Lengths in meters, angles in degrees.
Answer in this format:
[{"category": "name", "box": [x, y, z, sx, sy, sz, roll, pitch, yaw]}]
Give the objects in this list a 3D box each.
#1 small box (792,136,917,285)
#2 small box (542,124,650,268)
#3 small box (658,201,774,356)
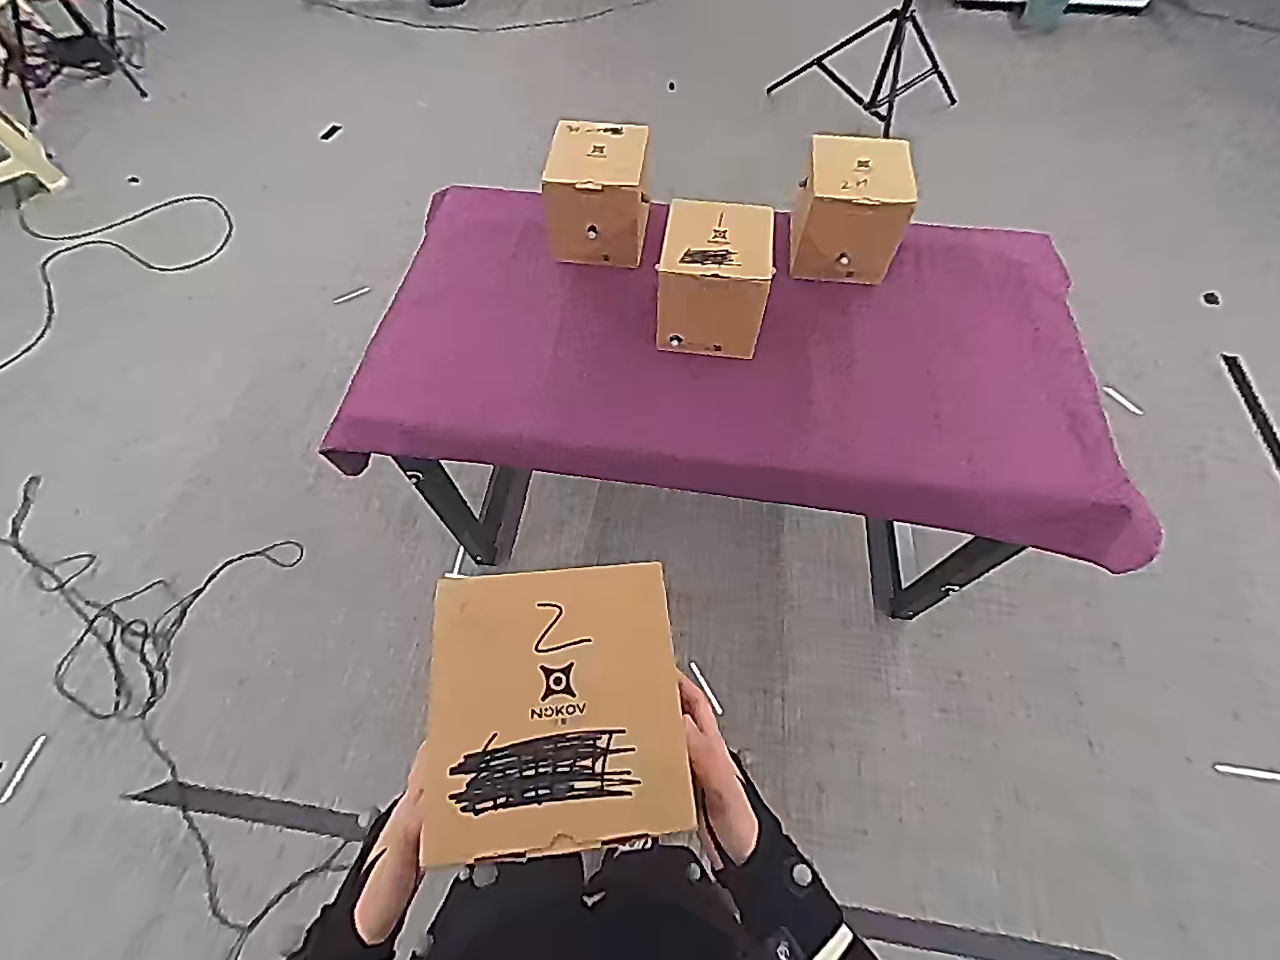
[{"category": "small box", "box": [0.375, -0.483, 0.976, 0.168, 0.176, 0.179, 6, 63, 5]}, {"category": "small box", "box": [-0.071, -0.521, 1.003, 0.168, 0.176, 0.179, 6, 64, 3]}, {"category": "small box", "box": [0.123, -0.328, 0.897, 0.168, 0.176, 0.179, 7, 61, 4]}]
